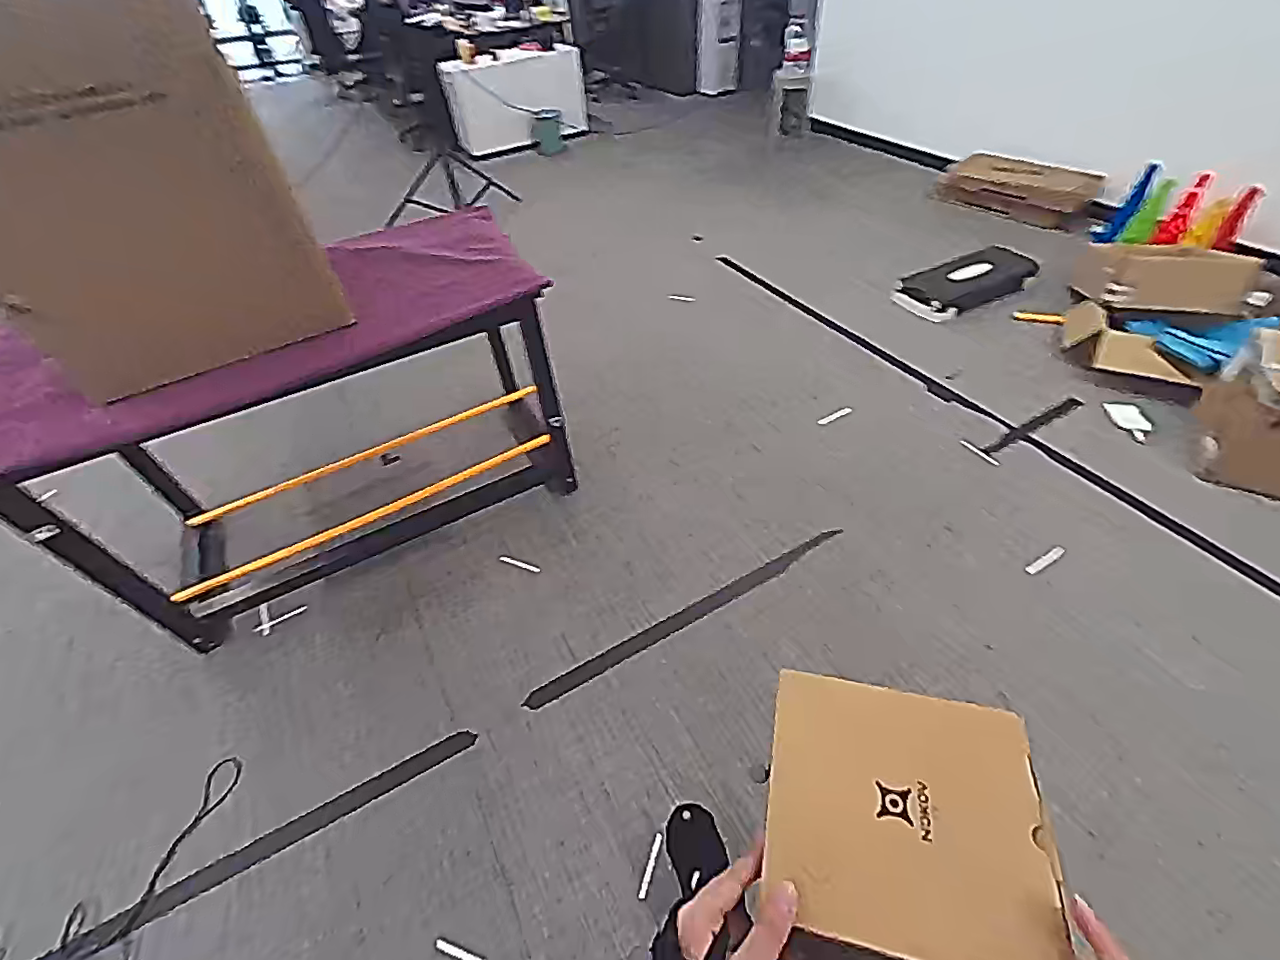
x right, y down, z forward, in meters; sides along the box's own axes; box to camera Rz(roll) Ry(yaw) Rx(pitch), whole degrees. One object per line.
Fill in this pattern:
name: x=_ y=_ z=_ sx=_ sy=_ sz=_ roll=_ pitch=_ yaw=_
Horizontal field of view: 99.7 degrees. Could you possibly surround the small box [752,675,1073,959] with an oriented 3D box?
small box: x=0.183 y=0.280 z=0.418 sx=0.179 sy=0.176 sz=0.168 roll=6 pitch=45 yaw=15
